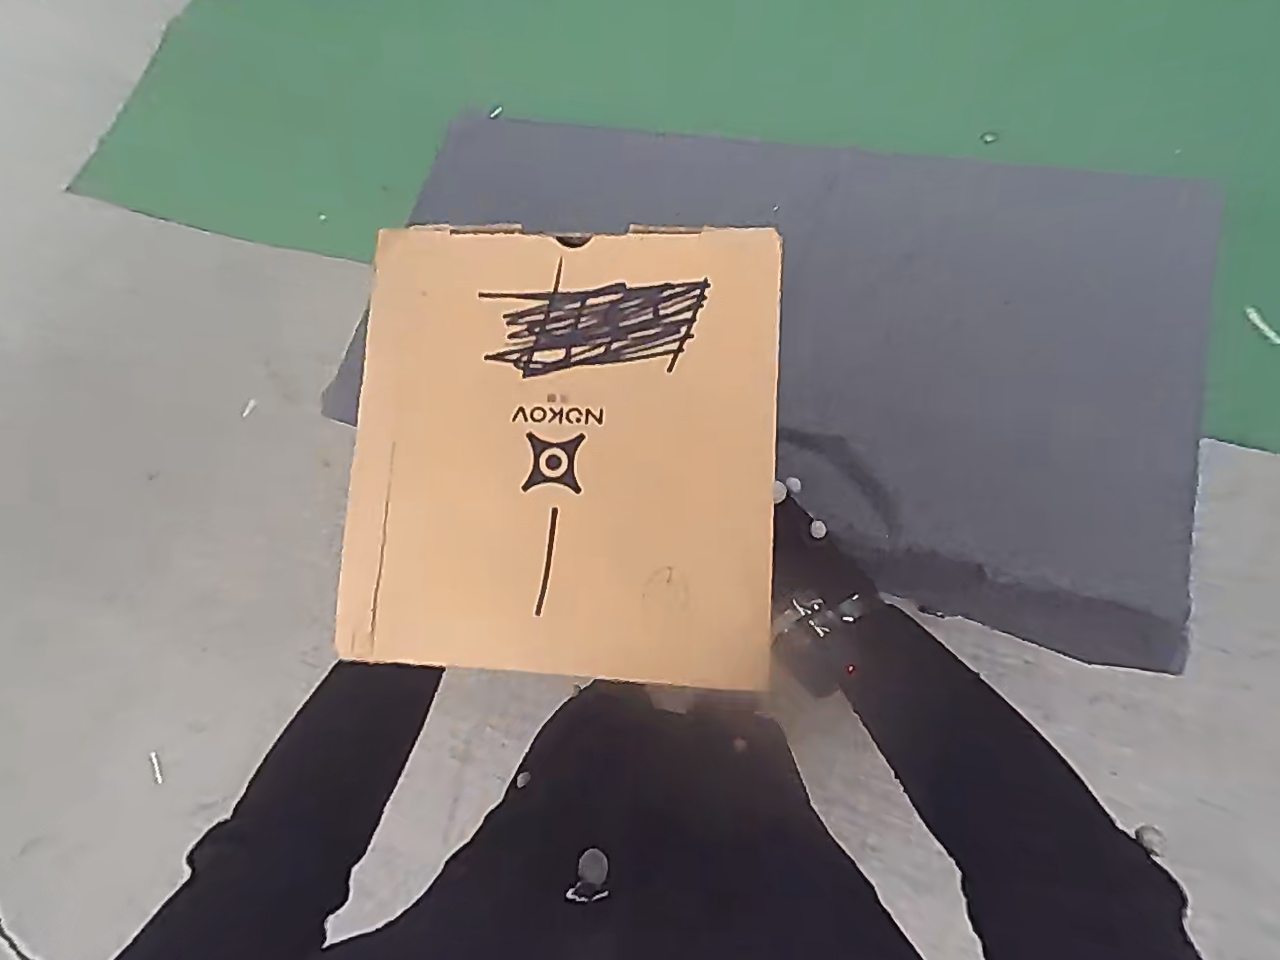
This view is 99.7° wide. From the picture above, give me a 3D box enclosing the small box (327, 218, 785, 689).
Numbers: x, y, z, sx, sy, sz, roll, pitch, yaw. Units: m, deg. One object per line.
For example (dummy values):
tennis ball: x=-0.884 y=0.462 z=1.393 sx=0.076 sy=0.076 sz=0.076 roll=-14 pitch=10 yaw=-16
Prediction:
small box: x=-0.024 y=-0.008 z=0.284 sx=0.168 sy=0.176 sz=0.179 roll=3 pitch=85 yaw=6
